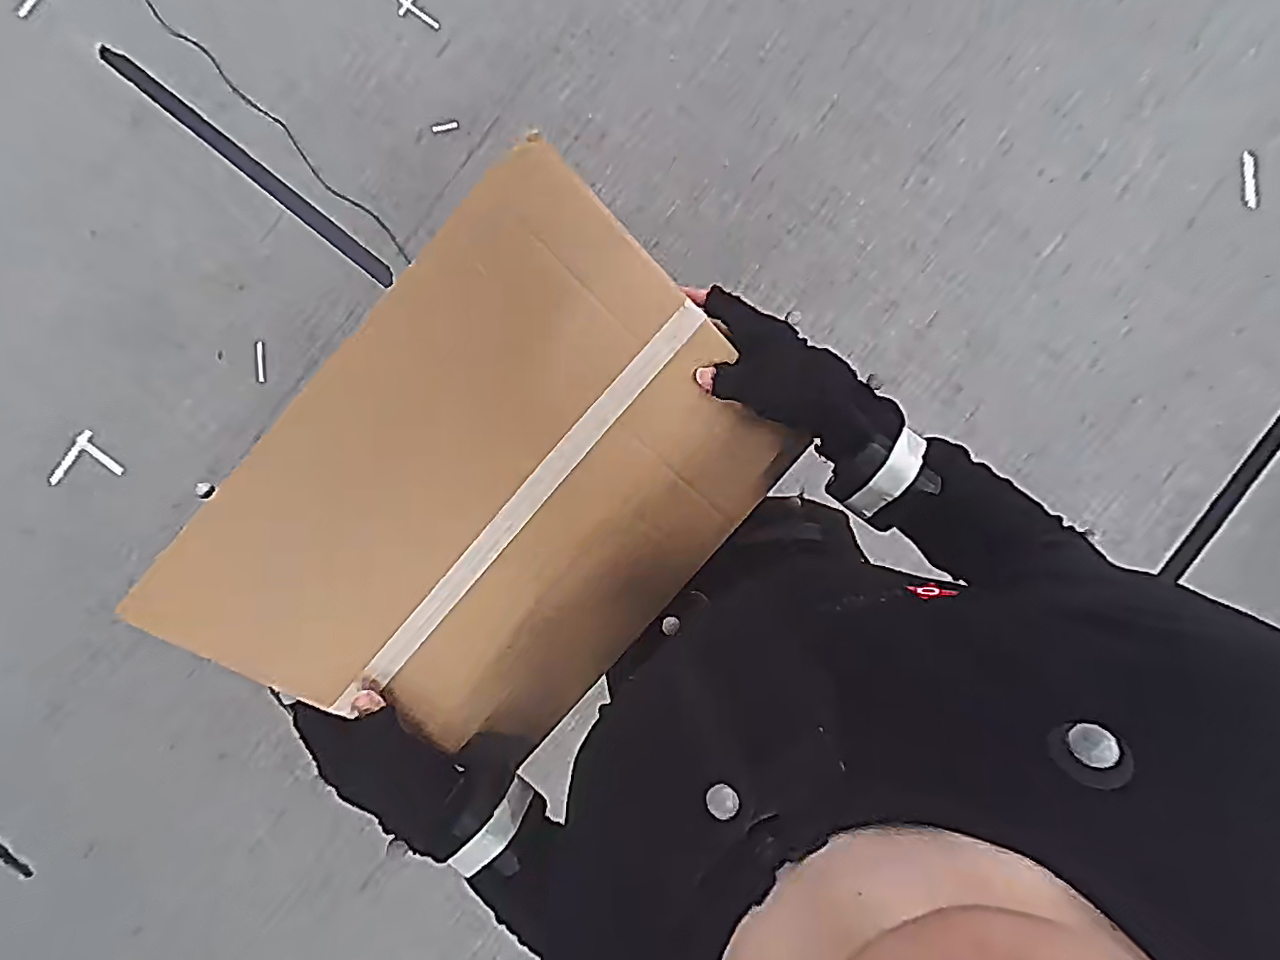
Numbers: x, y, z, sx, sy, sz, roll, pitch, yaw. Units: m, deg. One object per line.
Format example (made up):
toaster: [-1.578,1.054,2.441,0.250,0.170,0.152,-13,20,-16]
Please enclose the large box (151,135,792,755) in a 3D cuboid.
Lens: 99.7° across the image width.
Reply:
large box: [-0.142,-0.030,0.551,0.320,0.320,0.408,41,92,-26]
